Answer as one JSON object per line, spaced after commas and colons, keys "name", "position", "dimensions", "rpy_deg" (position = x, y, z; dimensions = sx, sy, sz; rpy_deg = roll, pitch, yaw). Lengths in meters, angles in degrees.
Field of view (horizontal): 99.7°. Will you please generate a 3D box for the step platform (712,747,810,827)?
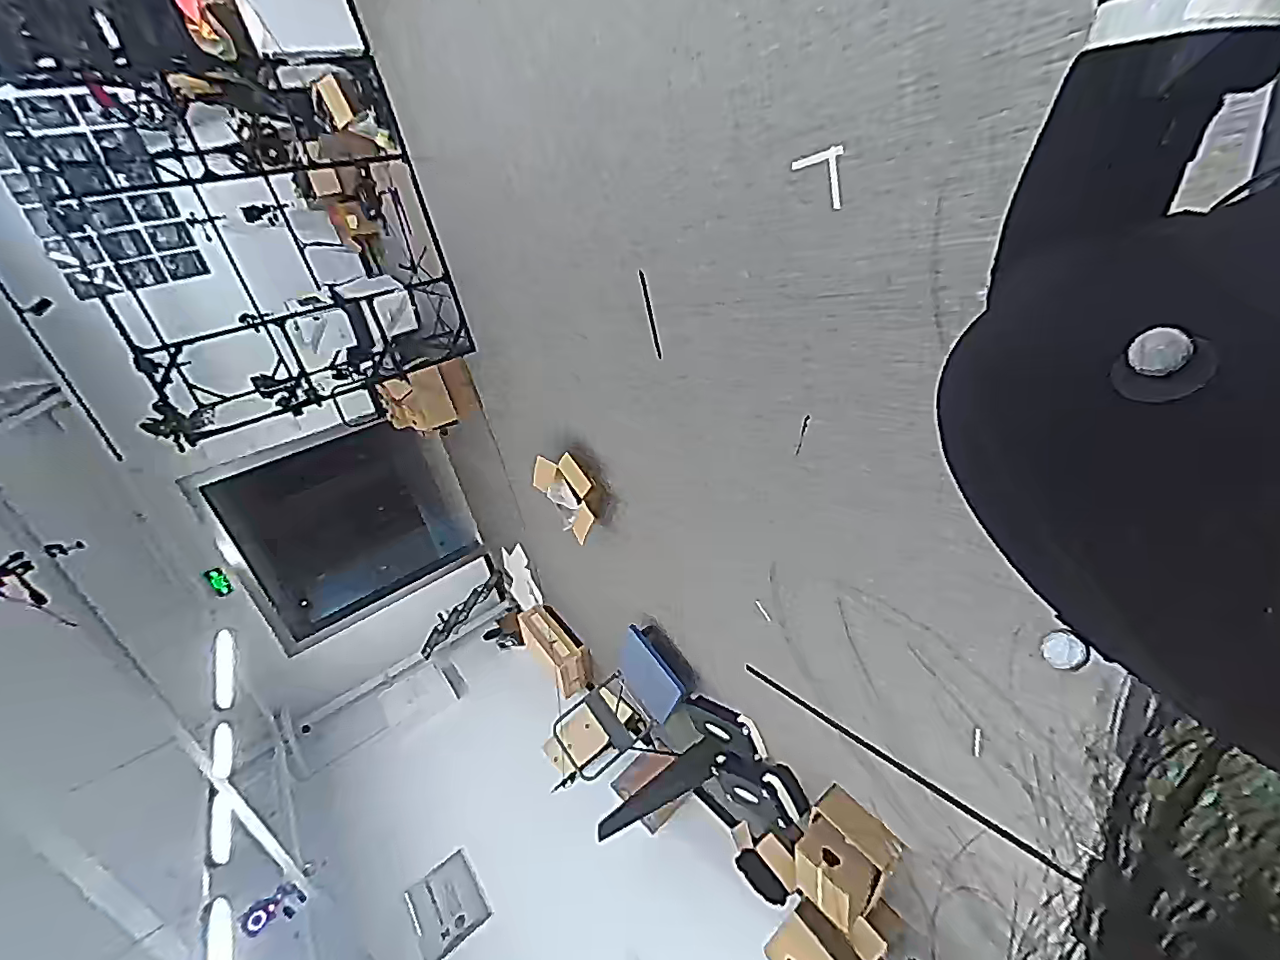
{"name": "step platform", "position": [0.738, 1.930, 3.426], "dimensions": [0.286, 0.204, 0.684], "rpy_deg": [61, 151, 1]}
